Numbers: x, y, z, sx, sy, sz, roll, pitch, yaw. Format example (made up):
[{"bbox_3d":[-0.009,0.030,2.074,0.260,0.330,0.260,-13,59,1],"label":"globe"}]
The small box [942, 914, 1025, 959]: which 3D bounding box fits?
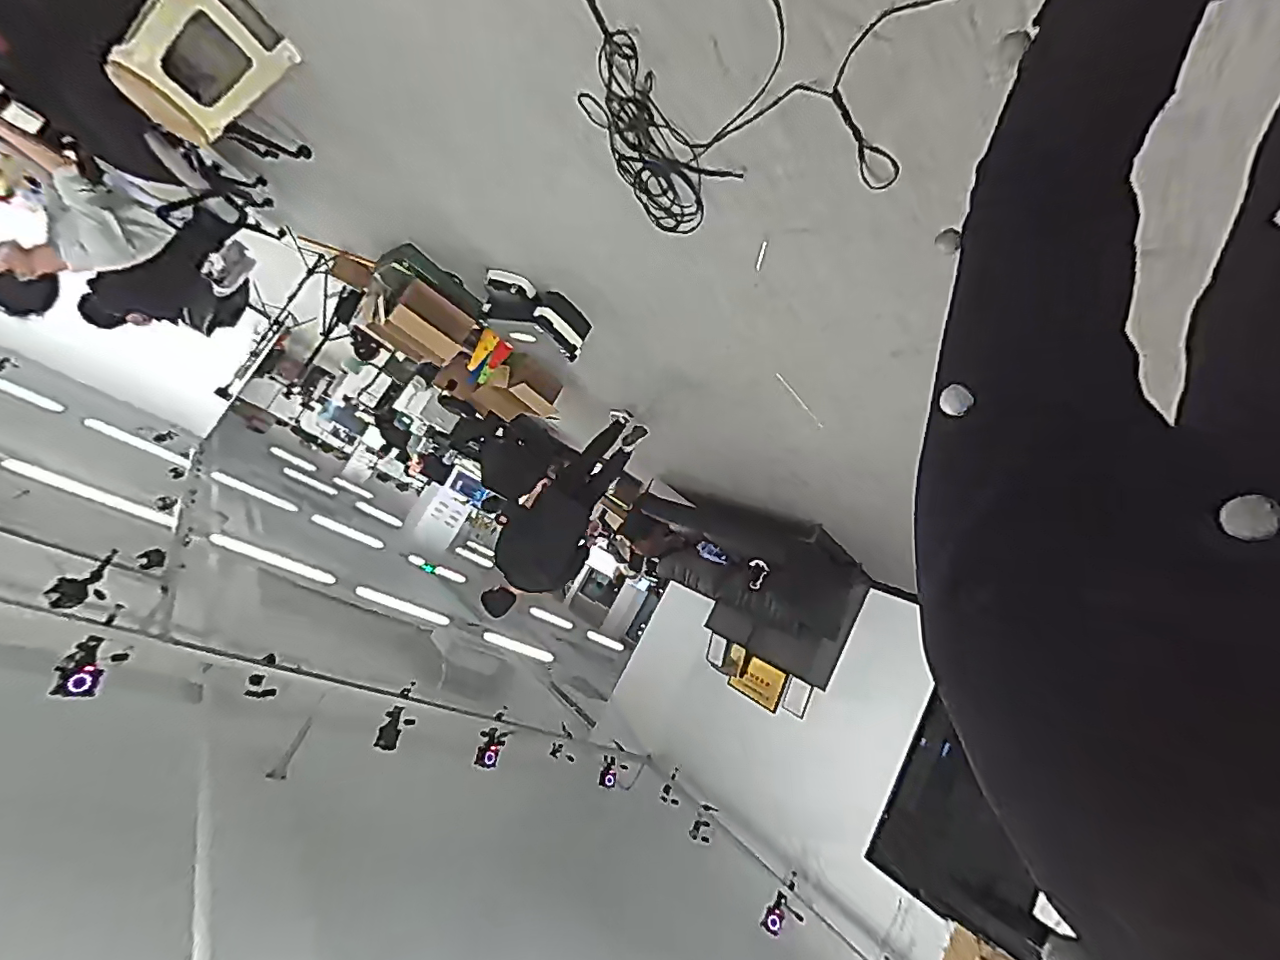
[{"bbox_3d":[0.977,1.390,1.544,0.168,0.176,0.179,18,165,43],"label":"small box"}]
